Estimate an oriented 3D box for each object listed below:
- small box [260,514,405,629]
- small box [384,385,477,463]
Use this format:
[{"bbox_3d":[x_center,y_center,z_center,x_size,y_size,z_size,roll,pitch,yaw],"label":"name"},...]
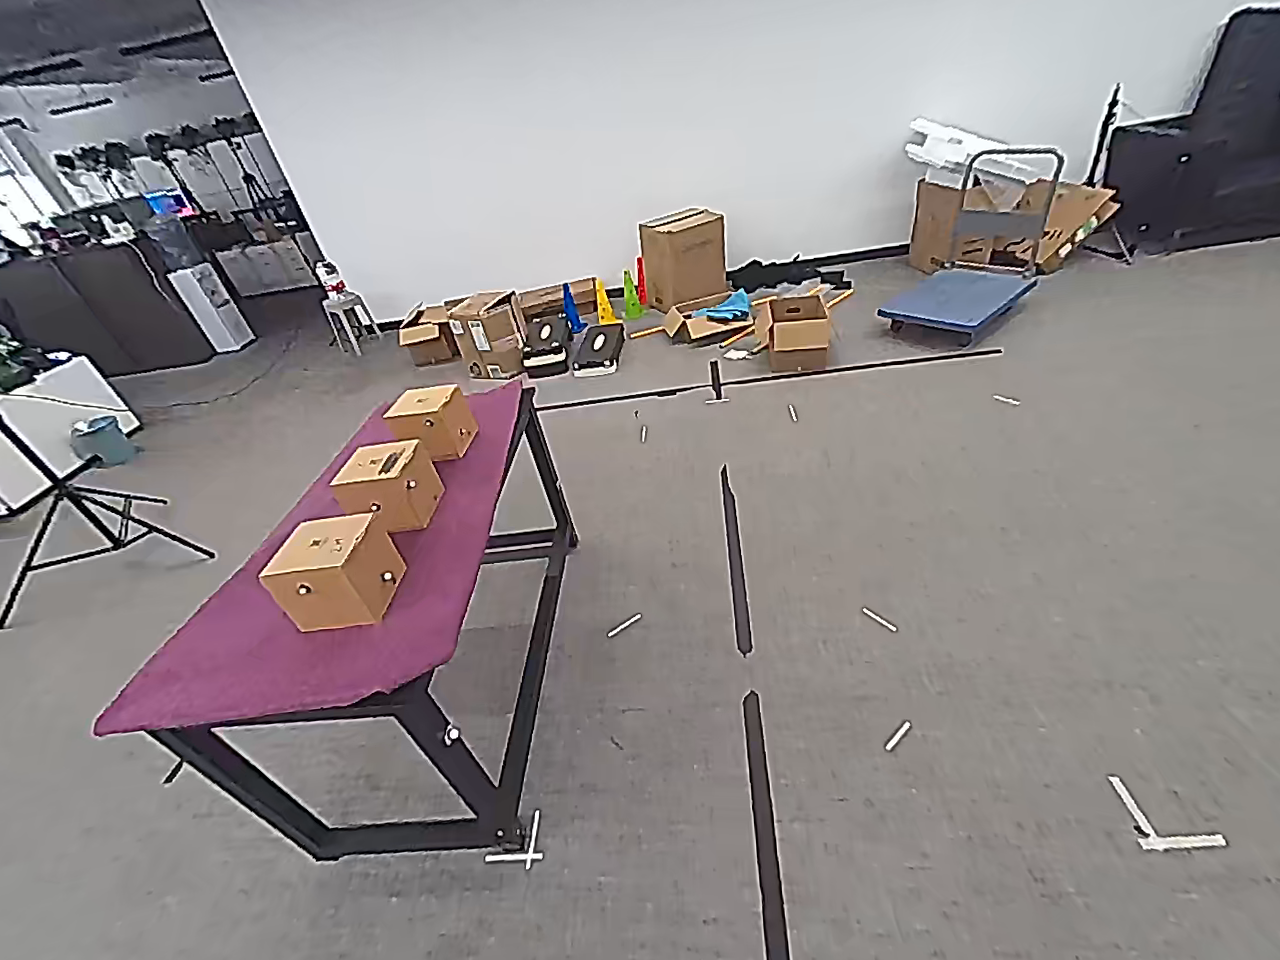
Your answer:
[{"bbox_3d":[-0.632,0.194,1.138,0.179,0.176,0.168,-7,35,5],"label":"small box"},{"bbox_3d":[-0.619,-0.164,1.622,0.179,0.176,0.168,-5,37,10],"label":"small box"}]
